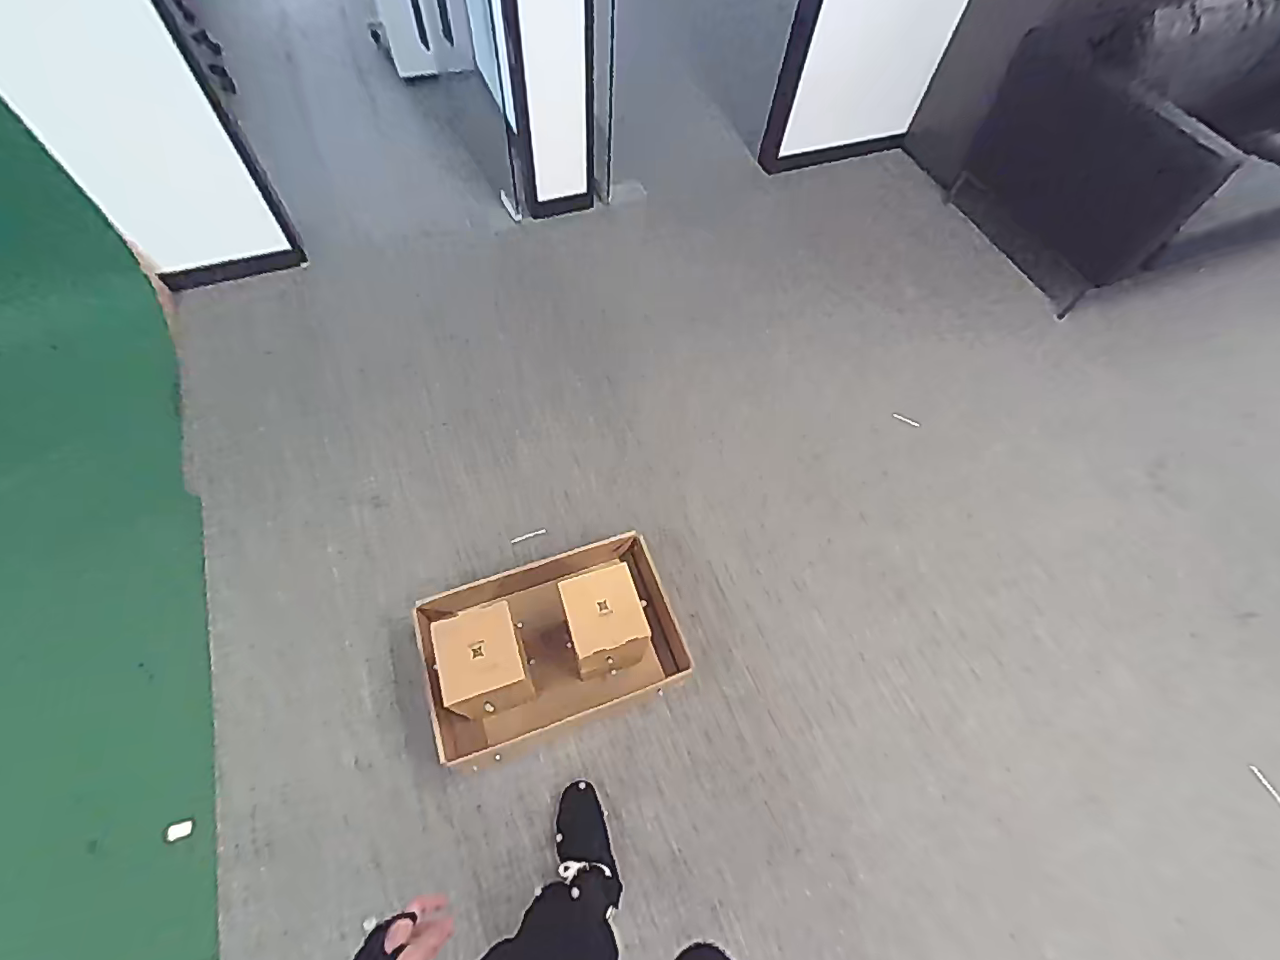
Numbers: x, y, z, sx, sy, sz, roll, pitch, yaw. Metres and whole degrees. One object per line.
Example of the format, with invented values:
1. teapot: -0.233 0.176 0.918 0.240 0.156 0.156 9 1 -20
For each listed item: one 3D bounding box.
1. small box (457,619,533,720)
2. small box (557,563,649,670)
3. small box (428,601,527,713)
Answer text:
1. small box: -0.366 0.467 1.326 0.168 0.176 0.179 -15 63 -13
2. small box: -0.091 0.319 1.250 0.168 0.176 0.179 -15 65 -13
3. small box: -0.351 0.390 1.184 0.168 0.176 0.179 -15 64 -13
